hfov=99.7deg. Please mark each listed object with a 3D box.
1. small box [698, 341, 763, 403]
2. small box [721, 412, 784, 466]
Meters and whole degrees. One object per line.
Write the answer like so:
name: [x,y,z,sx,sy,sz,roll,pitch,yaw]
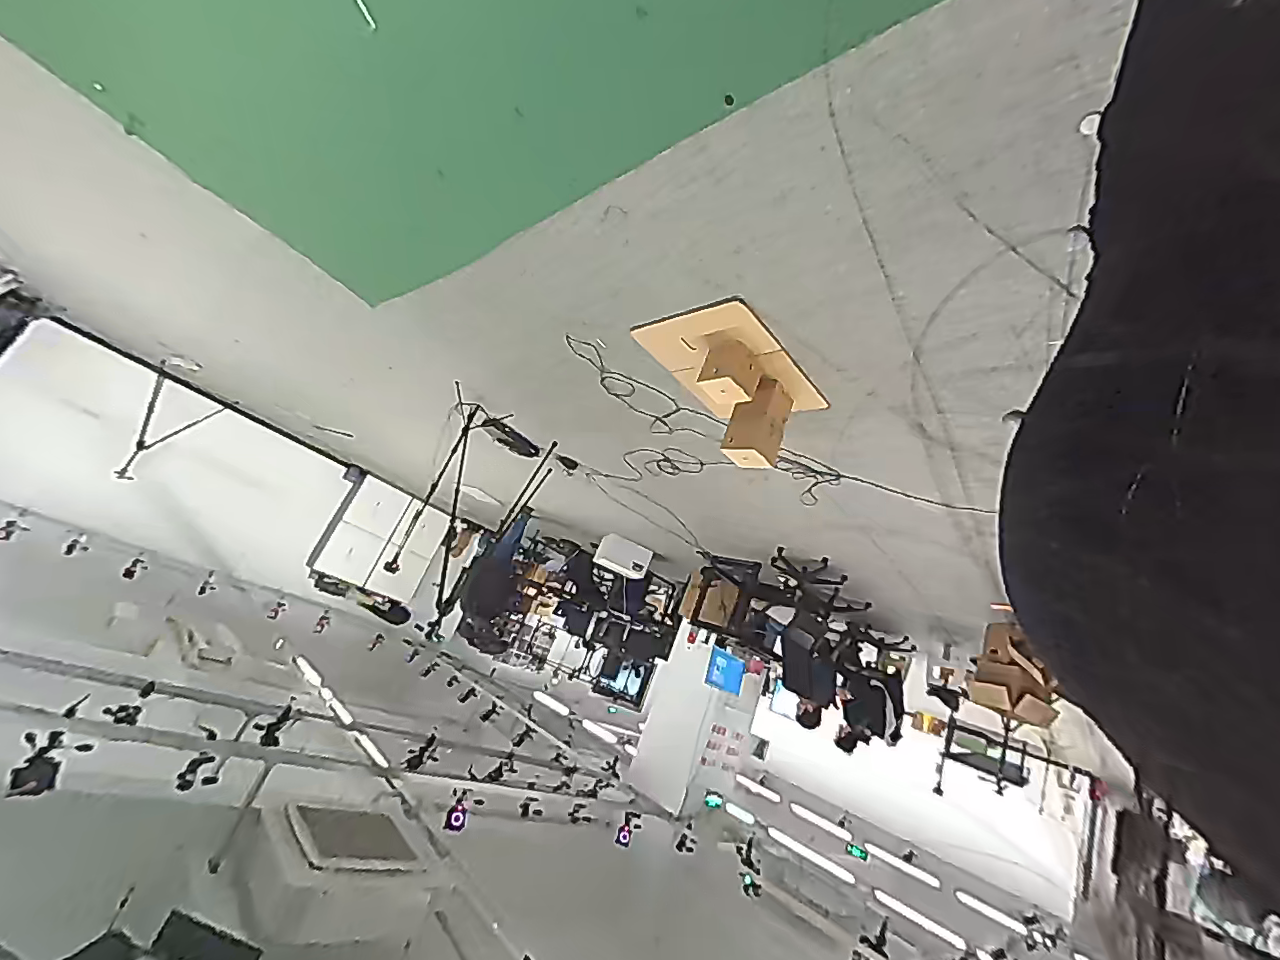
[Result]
small box: [0.368,-0.434,2.181,0.168,0.176,0.179,35,157,-34]
small box: [0.476,-0.171,2.270,0.179,0.176,0.168,3,155,46]
